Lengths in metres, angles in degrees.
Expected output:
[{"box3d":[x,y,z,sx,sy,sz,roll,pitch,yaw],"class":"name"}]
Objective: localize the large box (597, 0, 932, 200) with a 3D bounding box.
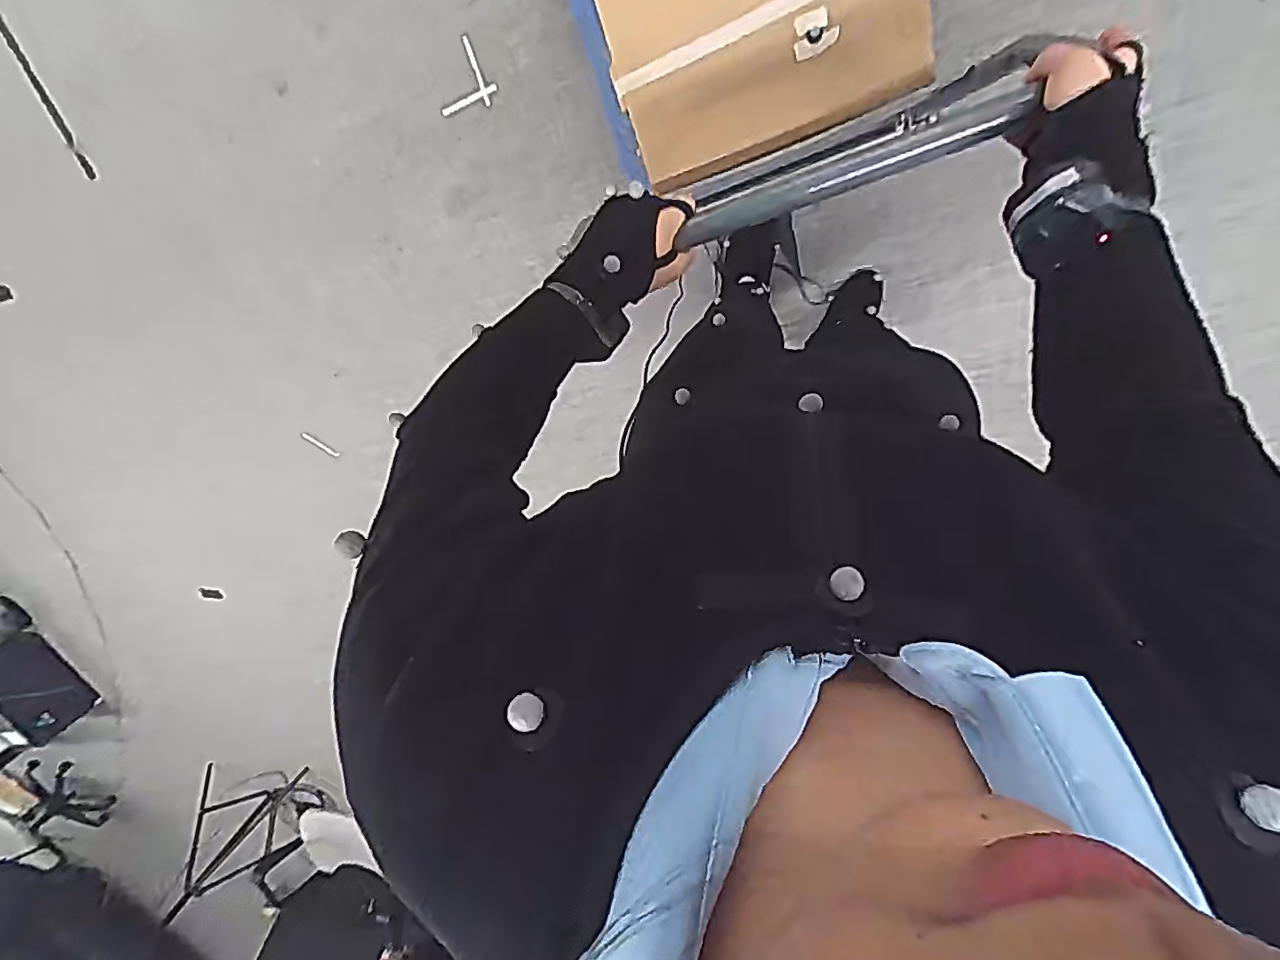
[{"box3d":[0.189,-0.688,0.868,0.408,0.320,0.320,-14,113,19],"class":"large box"}]
